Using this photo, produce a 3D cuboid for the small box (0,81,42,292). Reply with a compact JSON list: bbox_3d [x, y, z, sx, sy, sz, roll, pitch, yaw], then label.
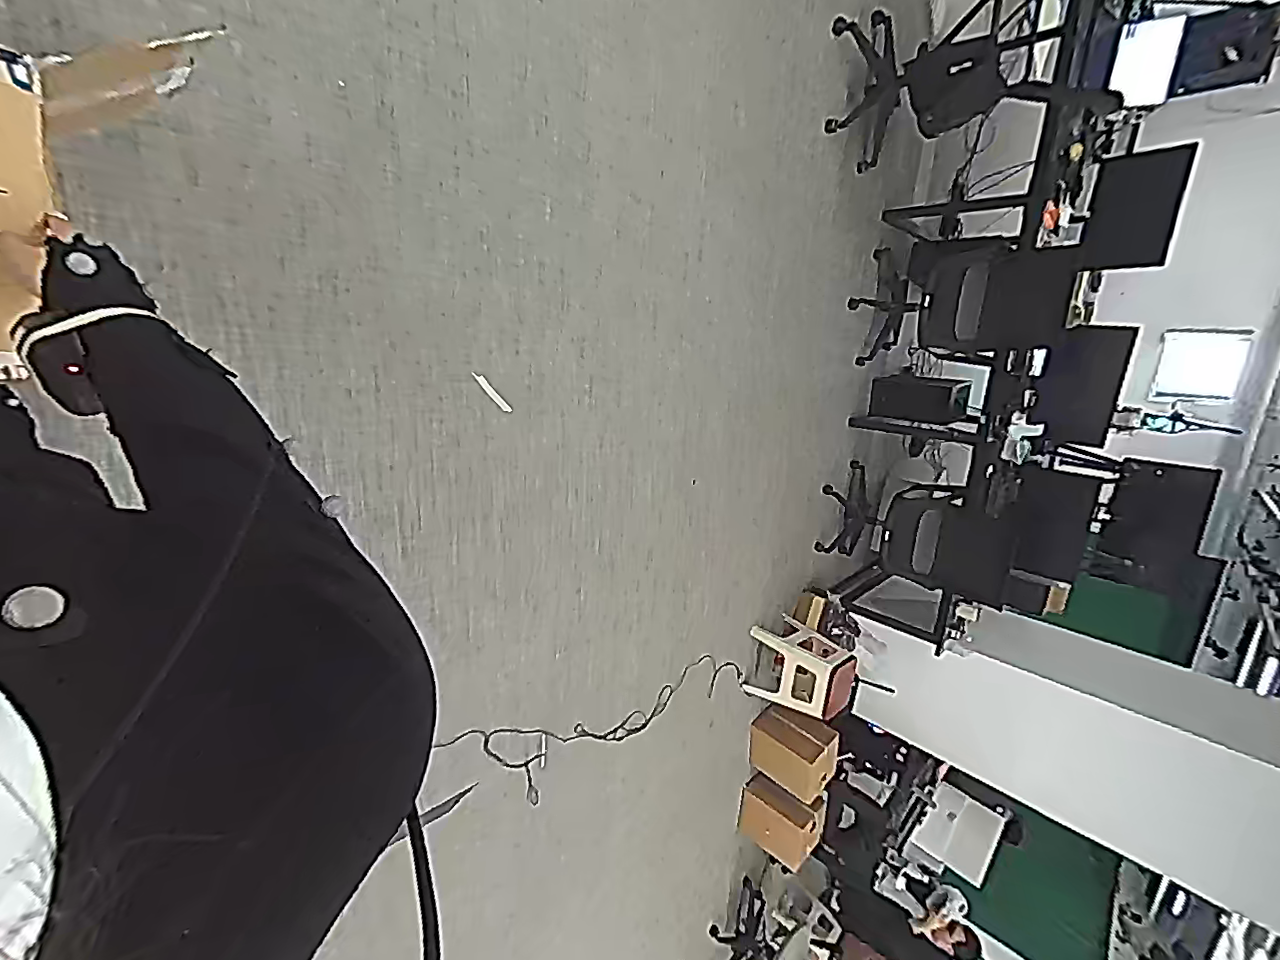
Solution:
[{"bbox_3d":[-0.630,-0.260,0.448,0.179,0.176,0.168,-3,107,-49],"label":"small box"}]
